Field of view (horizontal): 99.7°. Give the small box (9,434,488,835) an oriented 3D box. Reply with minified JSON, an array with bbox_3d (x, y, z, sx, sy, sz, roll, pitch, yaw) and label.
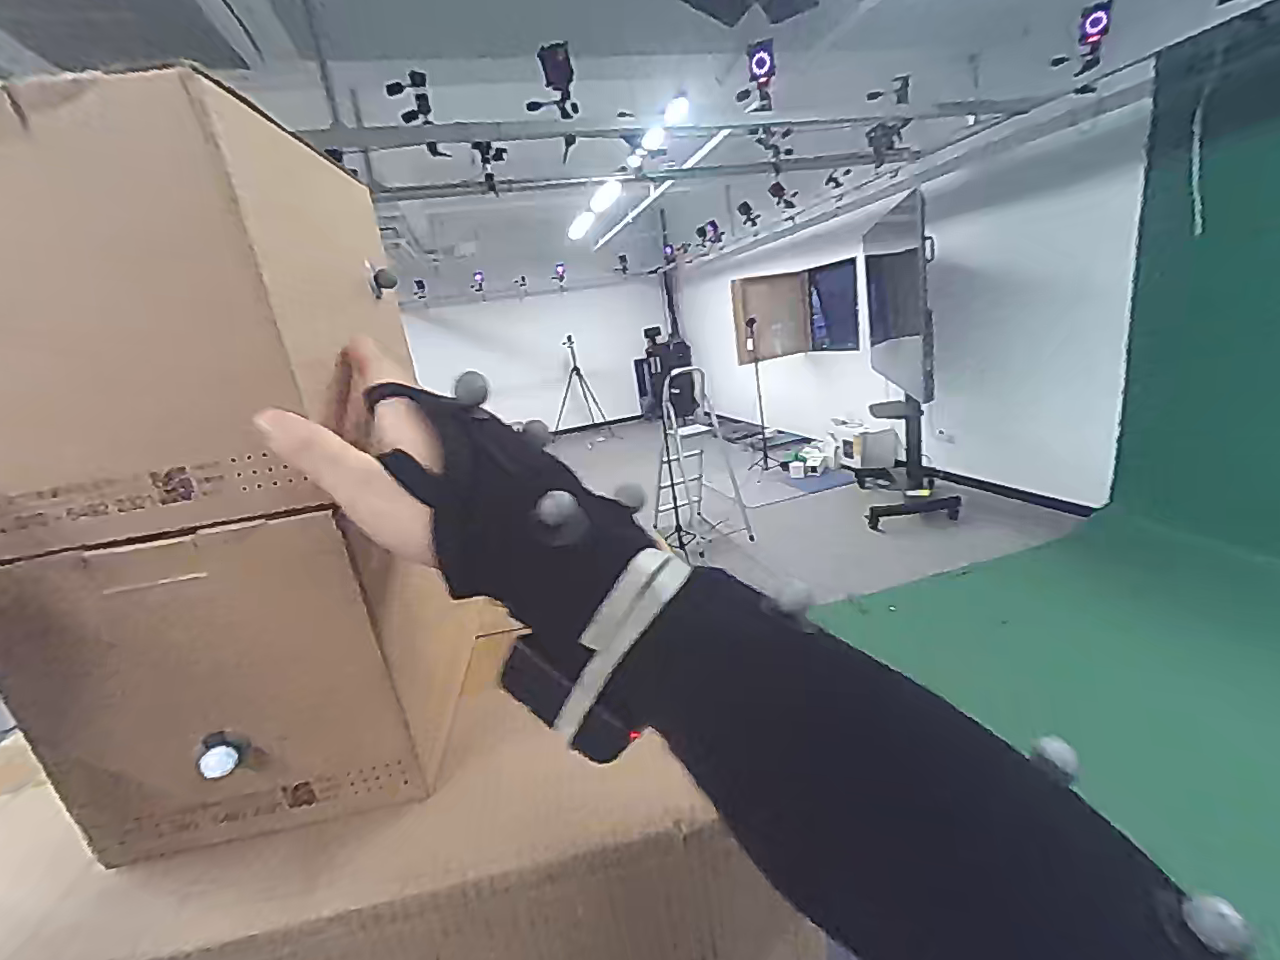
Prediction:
[{"bbox_3d":[-0.202,0.077,0.347,0.168,0.176,0.179,-9,17,-6],"label":"small box"}]
